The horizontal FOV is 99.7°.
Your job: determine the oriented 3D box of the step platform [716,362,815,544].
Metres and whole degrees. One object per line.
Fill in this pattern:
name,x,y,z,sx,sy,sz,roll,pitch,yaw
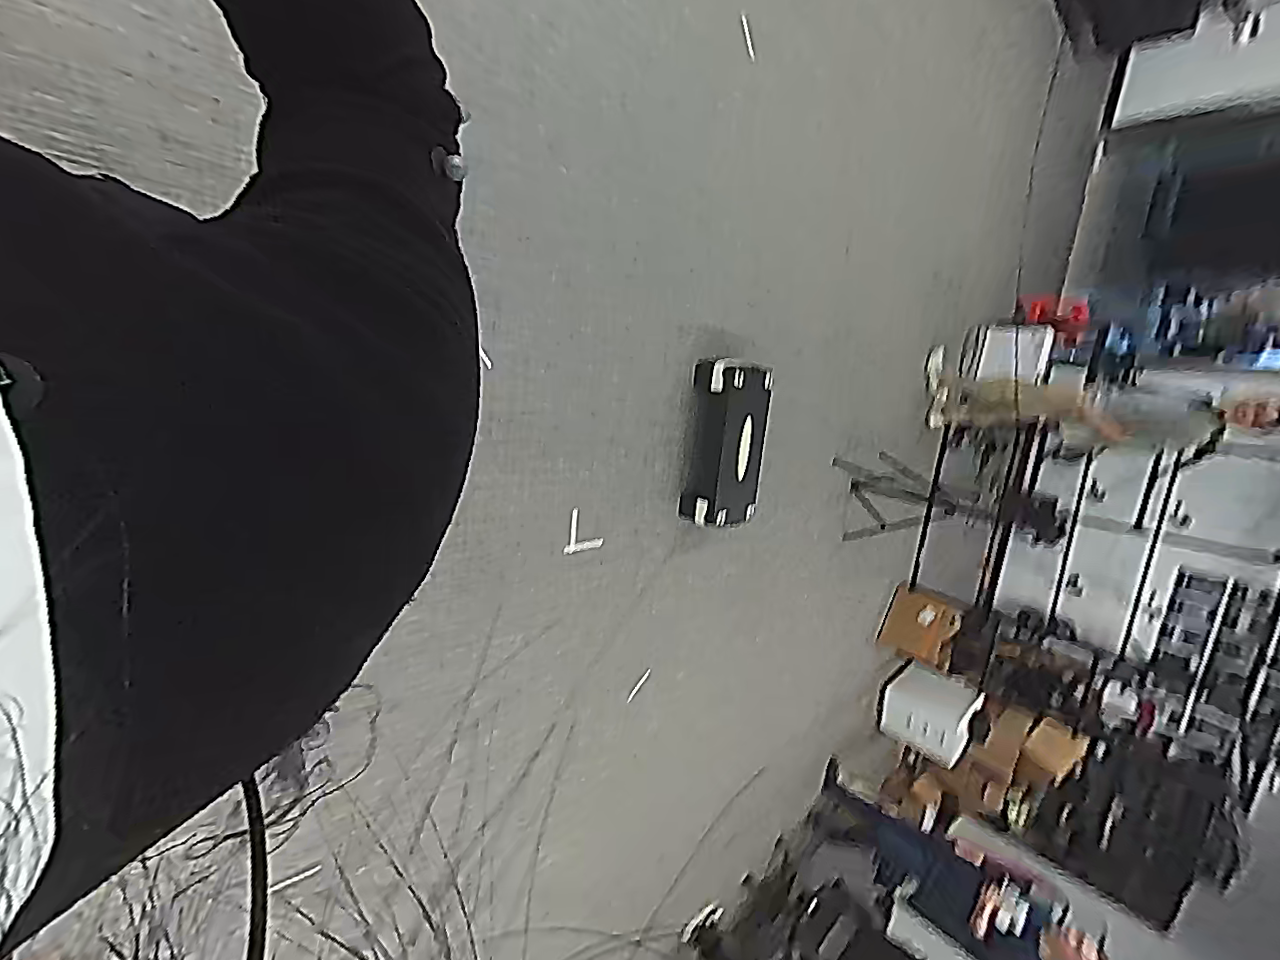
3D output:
step platform,0.483,-0.110,2.100,0.286,0.204,0.684,-6,107,-42
